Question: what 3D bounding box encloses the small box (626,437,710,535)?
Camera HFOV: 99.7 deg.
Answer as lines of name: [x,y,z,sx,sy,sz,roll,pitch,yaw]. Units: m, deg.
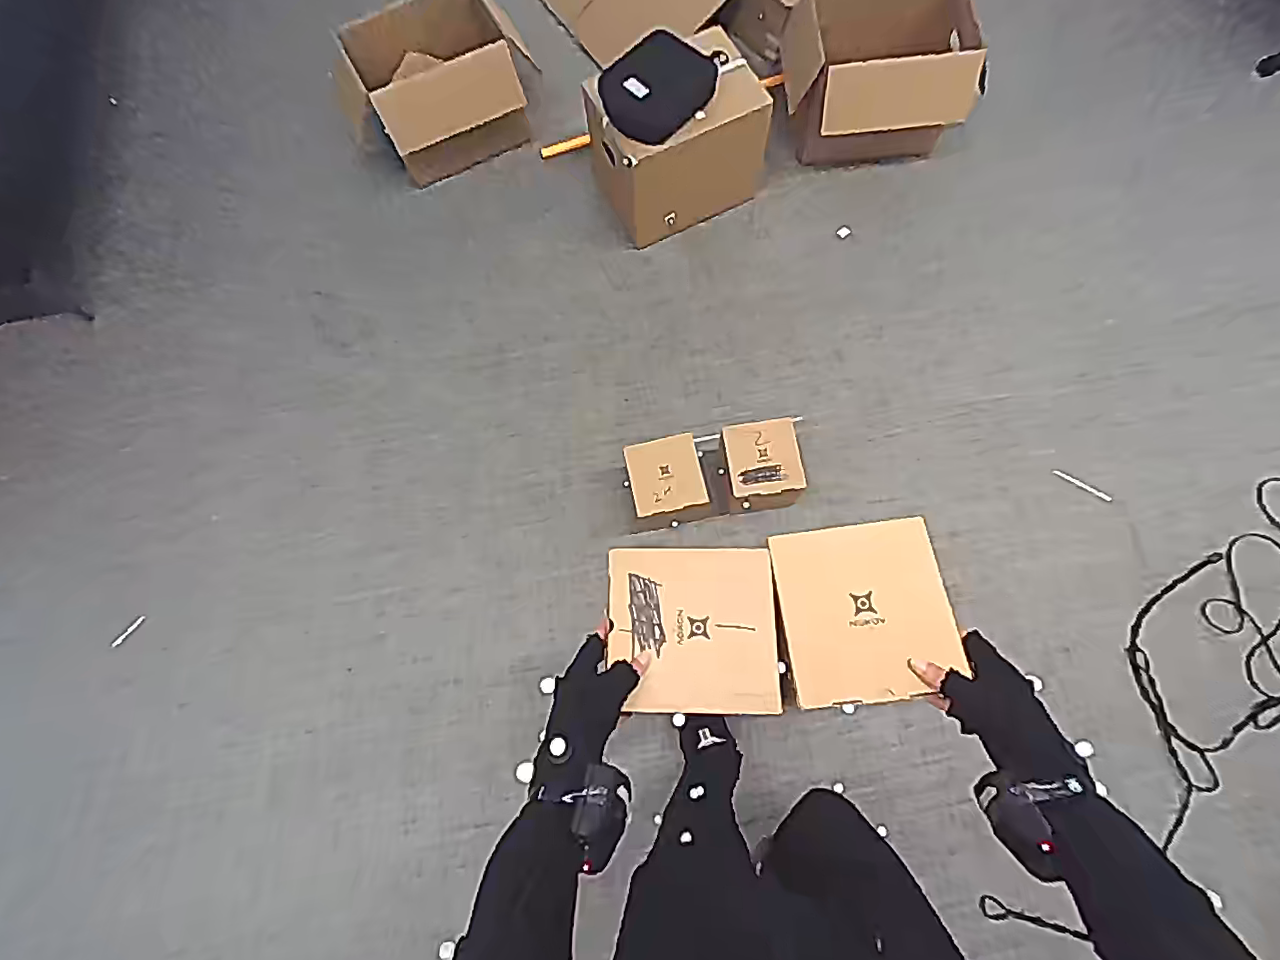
small box: [0.066,0.020,1.312,0.168,0.176,0.179,-13,72,1]
